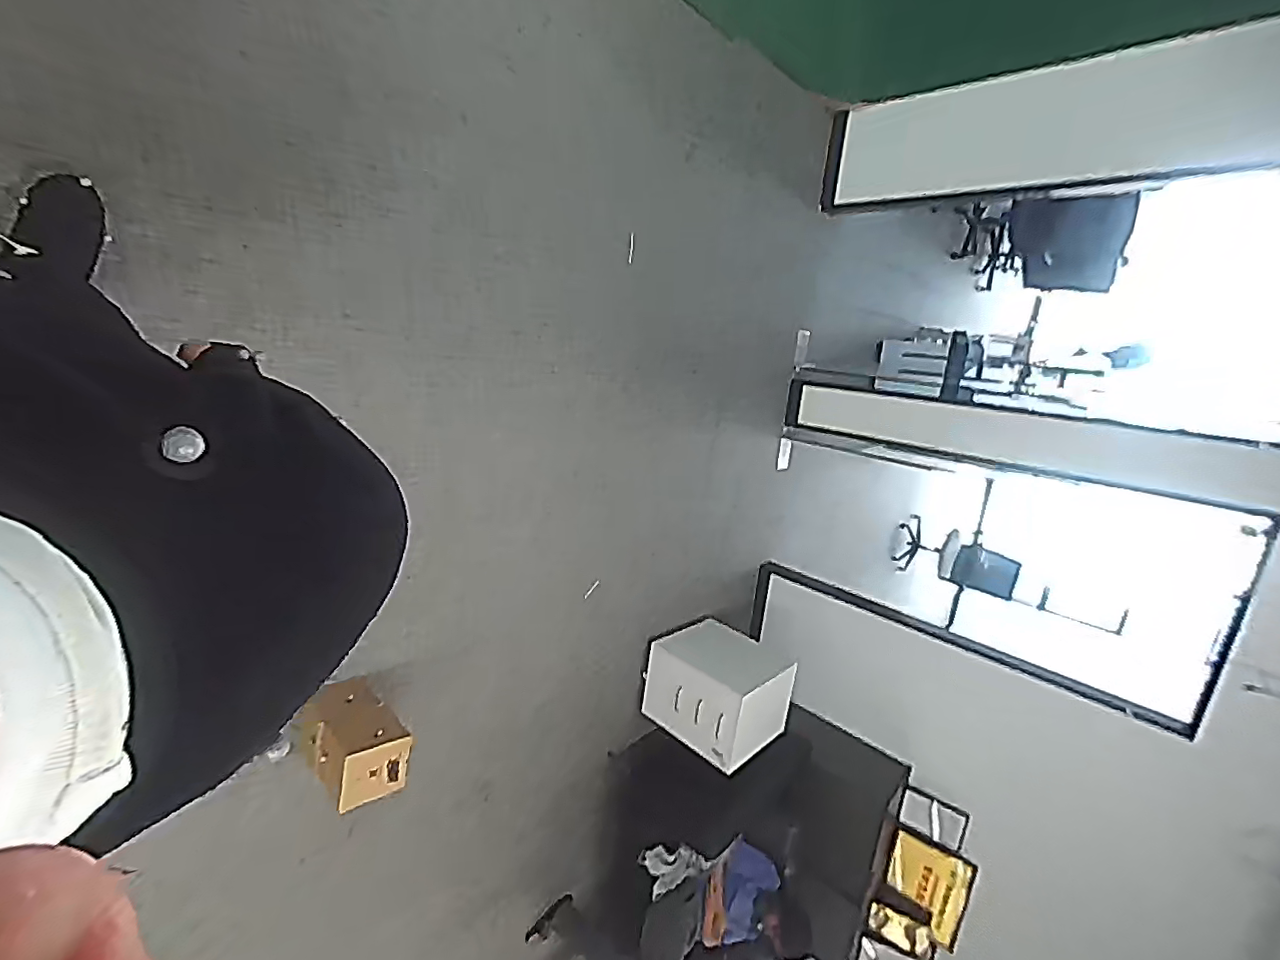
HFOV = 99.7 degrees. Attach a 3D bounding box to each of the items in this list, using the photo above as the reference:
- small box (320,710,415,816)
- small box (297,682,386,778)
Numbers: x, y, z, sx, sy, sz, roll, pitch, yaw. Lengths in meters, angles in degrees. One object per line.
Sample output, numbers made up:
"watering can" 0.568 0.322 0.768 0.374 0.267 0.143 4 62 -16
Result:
"small box" -0.749 0.763 1.485 0.179 0.176 0.168 2 102 -48
"small box" -0.874 0.722 1.584 0.179 0.176 0.168 0 105 -49
